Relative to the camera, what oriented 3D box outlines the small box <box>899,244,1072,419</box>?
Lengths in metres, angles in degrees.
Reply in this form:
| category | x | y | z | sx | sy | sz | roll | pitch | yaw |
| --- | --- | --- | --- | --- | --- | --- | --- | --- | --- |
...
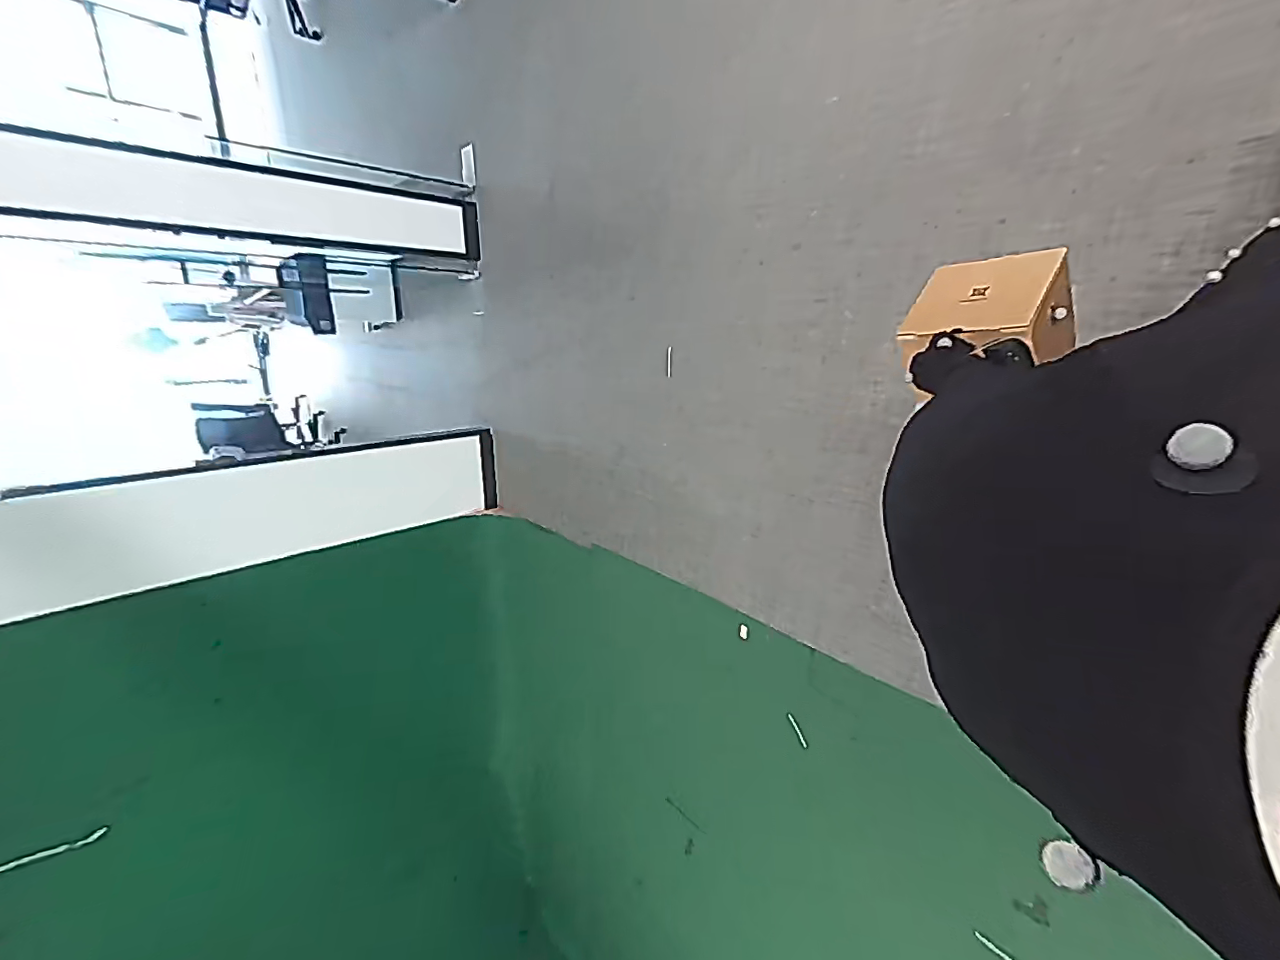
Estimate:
| category | x | y | z | sx | sy | sz | roll | pitch | yaw |
| --- | --- | --- | --- | --- | --- | --- | --- | --- | --- |
| small box | 0.515 | -0.214 | 0.800 | 0.168 | 0.179 | 0.176 | 11 | 145 | 49 |
